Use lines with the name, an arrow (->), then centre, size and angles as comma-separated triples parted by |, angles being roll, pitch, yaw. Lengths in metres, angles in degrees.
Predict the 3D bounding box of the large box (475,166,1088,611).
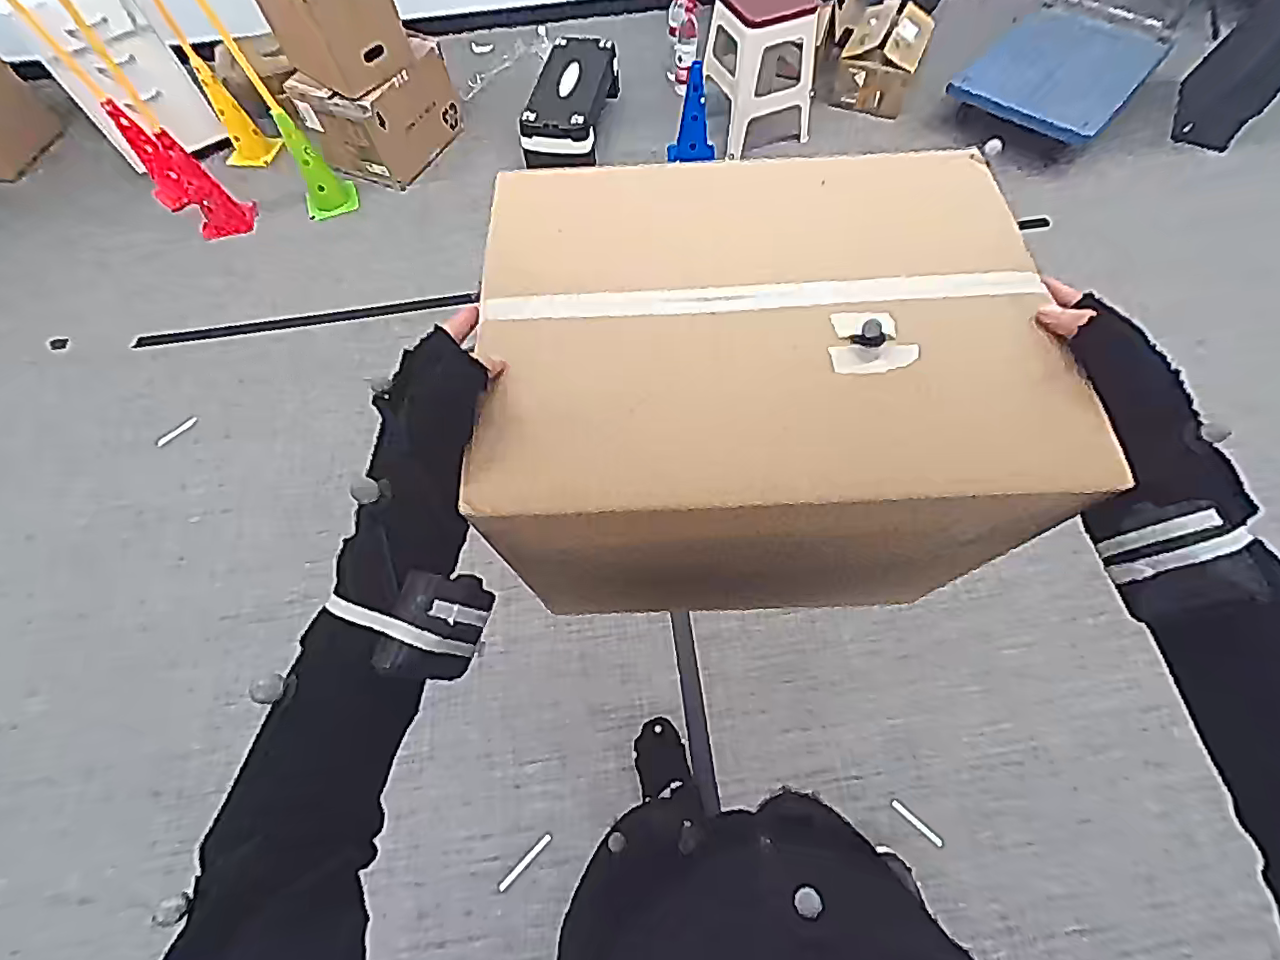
large box -> 0.085, -0.063, 0.542 | 0.408, 0.320, 0.320 | -3, 65, 0
